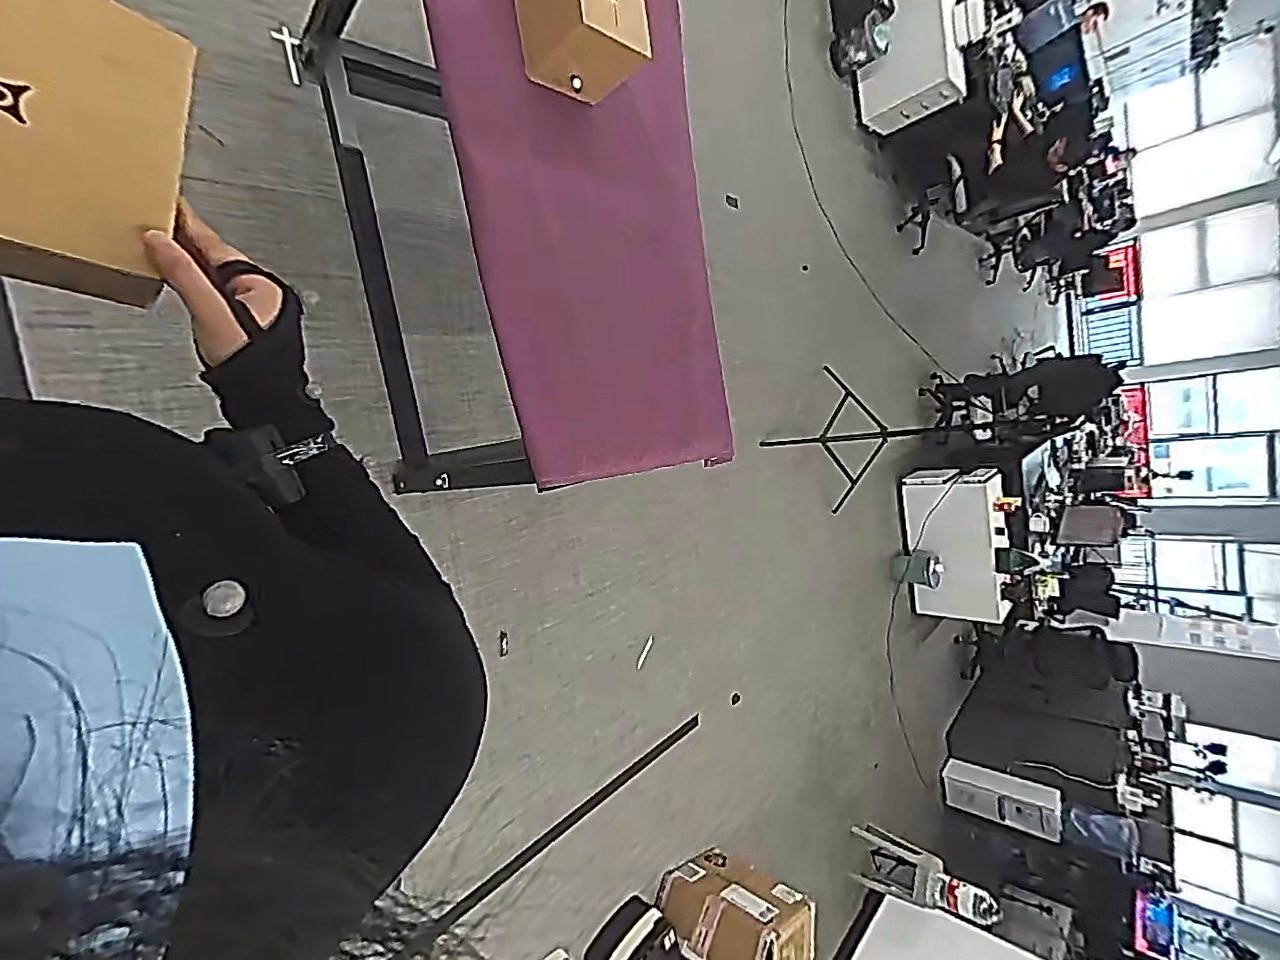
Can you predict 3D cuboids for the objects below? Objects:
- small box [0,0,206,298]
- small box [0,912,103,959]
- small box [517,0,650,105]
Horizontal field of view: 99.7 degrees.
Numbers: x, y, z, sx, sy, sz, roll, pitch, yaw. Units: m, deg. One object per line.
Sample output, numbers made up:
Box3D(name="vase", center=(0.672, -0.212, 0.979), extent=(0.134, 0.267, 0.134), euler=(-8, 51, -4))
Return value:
Box3D(name="small box", center=(-0.429, -0.235, 0.372), extent=(0.179, 0.176, 0.168), euler=(7, 91, -44))
Box3D(name="small box", center=(-1.040, 0.891, 0.919), extent=(0.168, 0.176, 0.179), euler=(-19, 102, -44))
Box3D(name="small box", center=(-0.107, -0.836, 0.984), extent=(0.168, 0.176, 0.179), euler=(-14, 99, -44))
